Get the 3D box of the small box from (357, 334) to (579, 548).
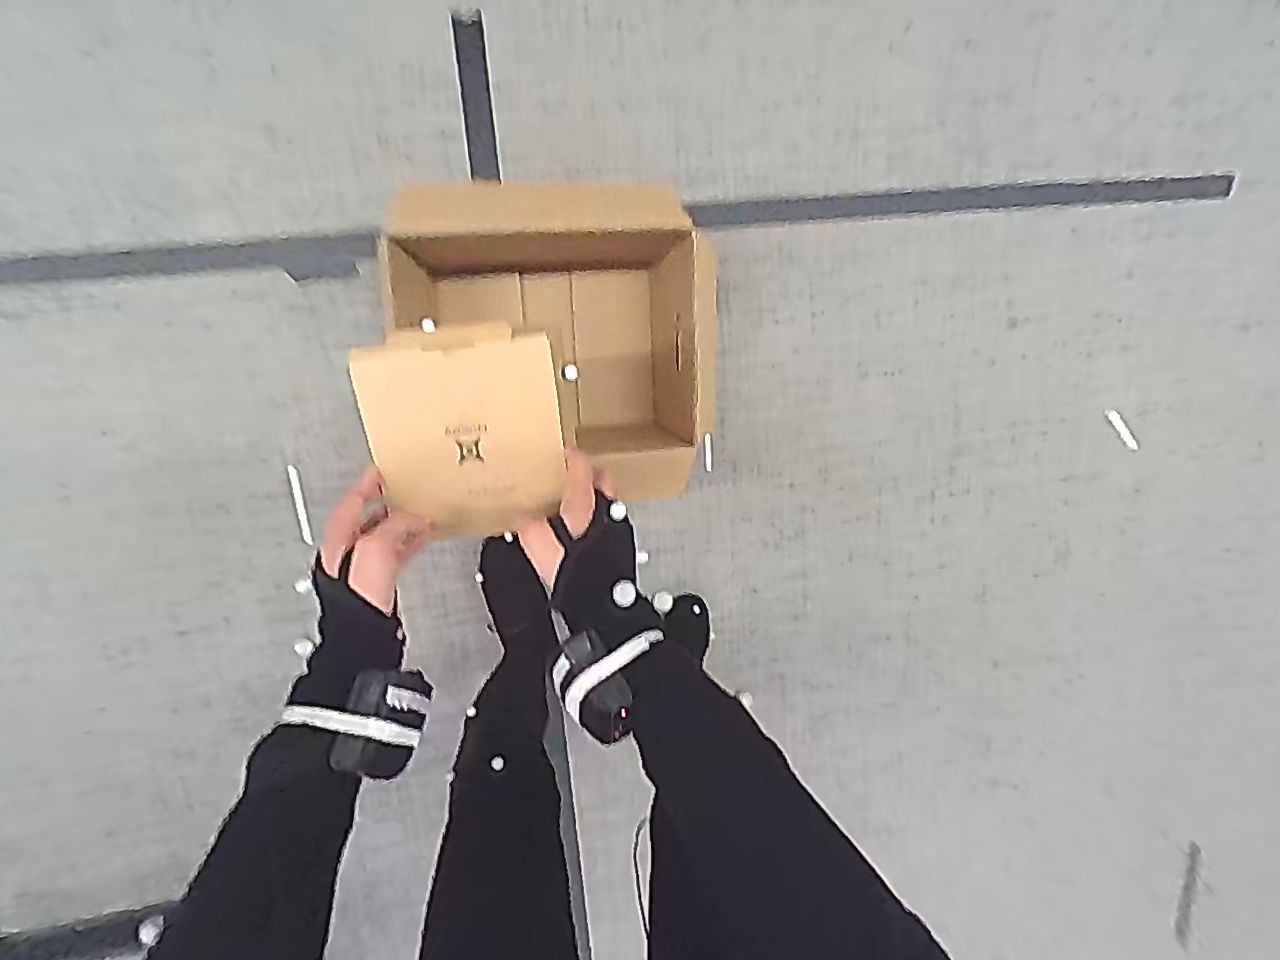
[{"bbox_3d":[-0.150,-0.051,0.541,0.168,0.176,0.179,-5,109,-3],"label":"small box"}]
